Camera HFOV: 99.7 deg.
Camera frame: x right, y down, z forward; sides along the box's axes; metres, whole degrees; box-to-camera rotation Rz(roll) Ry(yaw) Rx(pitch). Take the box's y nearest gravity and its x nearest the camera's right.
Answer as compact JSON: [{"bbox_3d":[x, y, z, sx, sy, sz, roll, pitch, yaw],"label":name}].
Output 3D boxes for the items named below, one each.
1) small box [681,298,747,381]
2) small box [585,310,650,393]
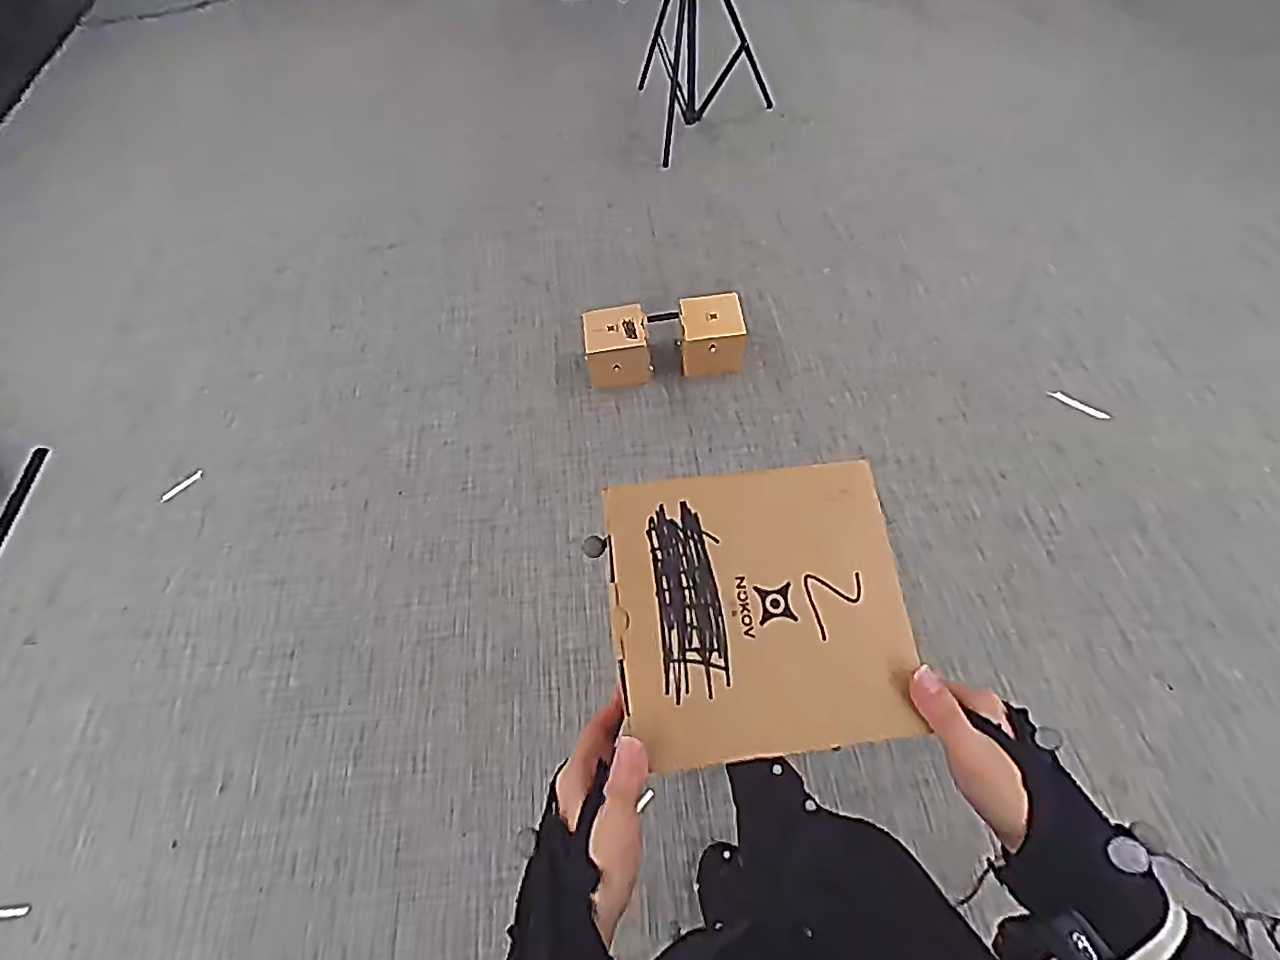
[{"bbox_3d":[0.218,-0.422,1.641,0.179,0.176,0.168,-7,62,2],"label":"small box"},{"bbox_3d":[-0.064,-0.386,1.646,0.179,0.176,0.168,-8,61,2],"label":"small box"}]
